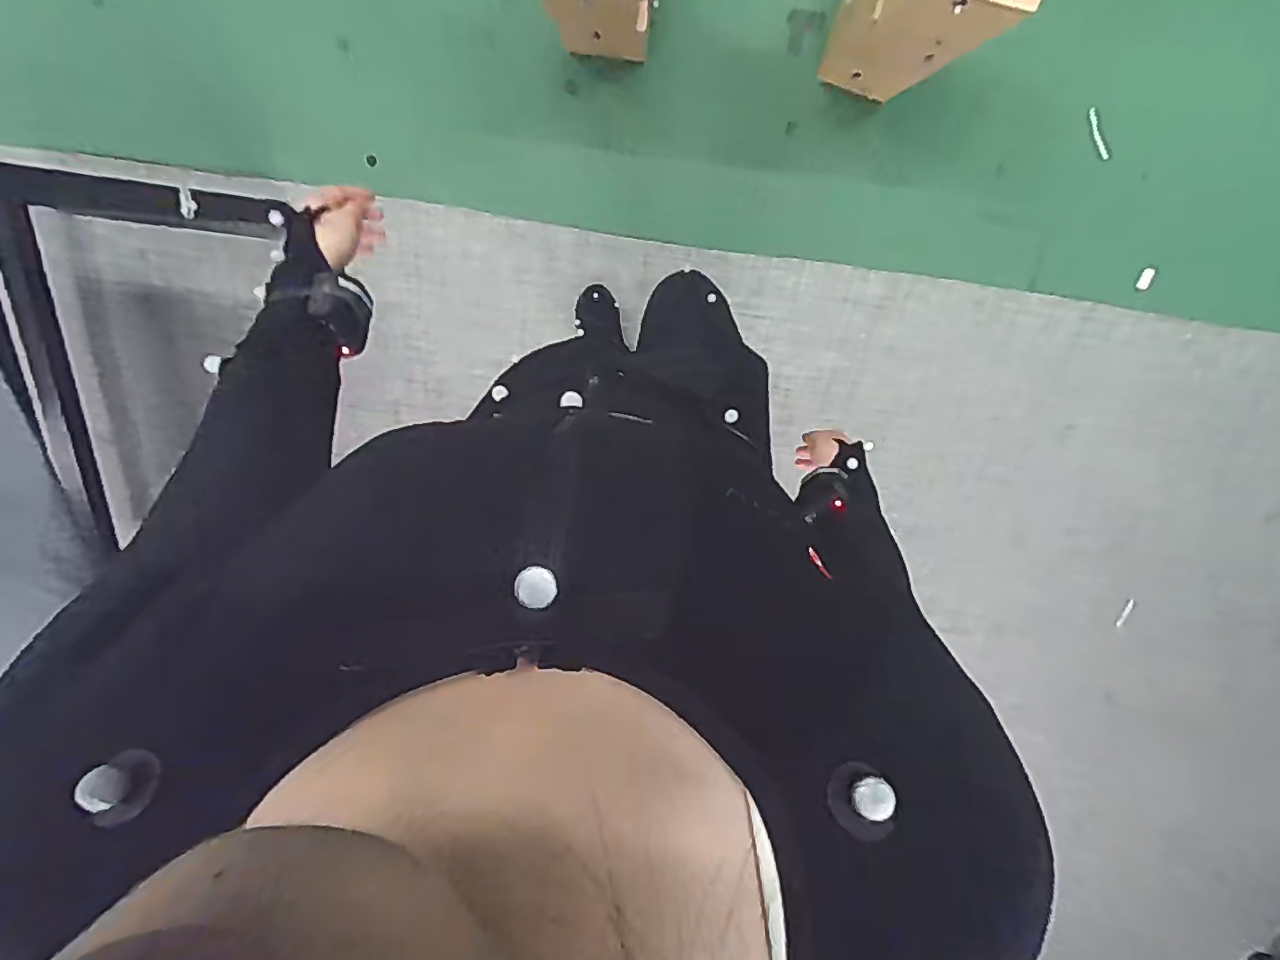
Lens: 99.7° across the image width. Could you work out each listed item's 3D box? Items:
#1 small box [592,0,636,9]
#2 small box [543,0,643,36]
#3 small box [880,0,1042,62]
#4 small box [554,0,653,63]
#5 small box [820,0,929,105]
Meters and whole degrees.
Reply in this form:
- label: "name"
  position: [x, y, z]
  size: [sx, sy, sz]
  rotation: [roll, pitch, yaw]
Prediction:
- label: "small box"
  position: [-0.076, -0.811, 0.760]
  size: [0.168, 0.176, 0.179]
  rotation: [8, 112, -3]
- label: "small box"
  position: [-0.076, -0.886, 0.907]
  size: [0.179, 0.176, 0.168]
  rotation: [8, 113, -4]
- label: "small box"
  position: [0.483, -0.759, 0.790]
  size: [0.168, 0.176, 0.179]
  rotation: [10, 111, -6]
- label: "small box"
  position: [-0.065, -0.947, 1.057]
  size: [0.179, 0.176, 0.168]
  rotation: [6, 113, -3]
- label: "small box"
  position: [0.485, -0.894, 1.090]
  size: [0.168, 0.176, 0.179]
  rotation: [14, 112, -7]
